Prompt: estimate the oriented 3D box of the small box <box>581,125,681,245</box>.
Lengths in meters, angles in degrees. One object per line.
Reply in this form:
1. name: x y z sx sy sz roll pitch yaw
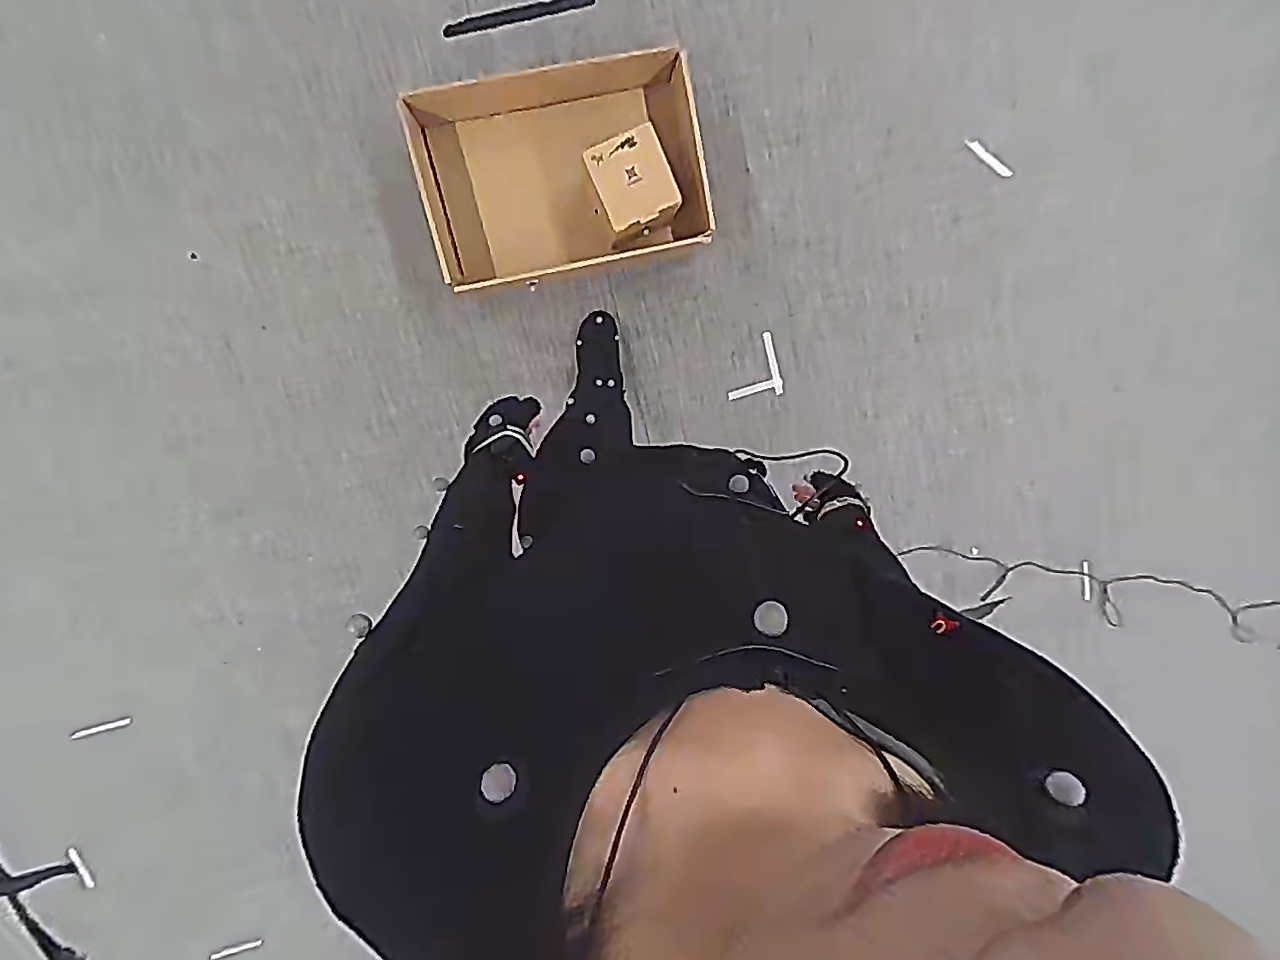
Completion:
1. small box: -0.025 -0.656 1.232 0.168 0.176 0.179 -25 103 -2
